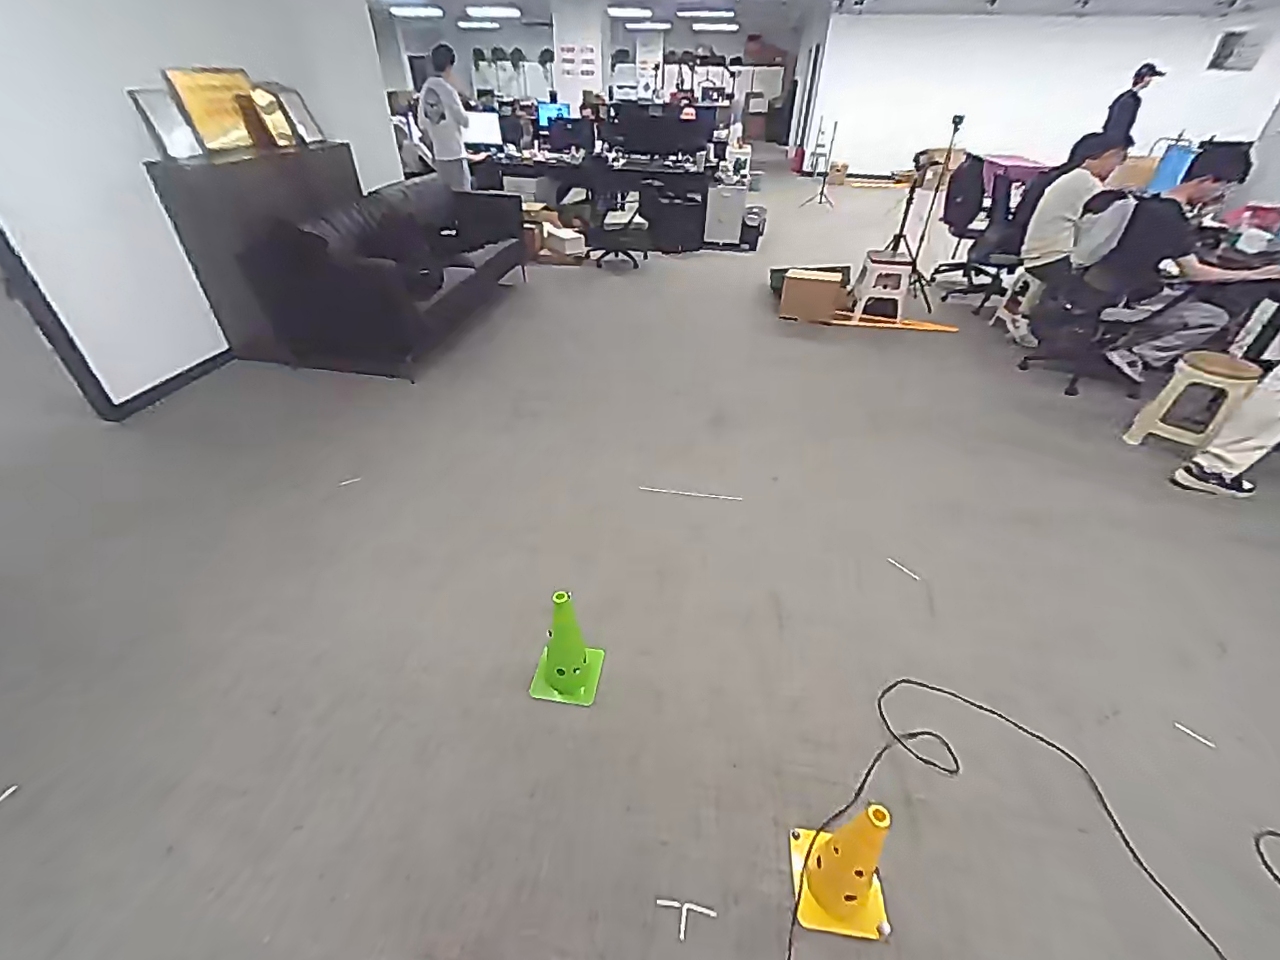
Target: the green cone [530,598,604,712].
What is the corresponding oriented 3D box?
[{"bbox_3d":[-0.218,0.483,1.585,0.202,0.368,0.200,7,37,6],"label":"green cone"}]
